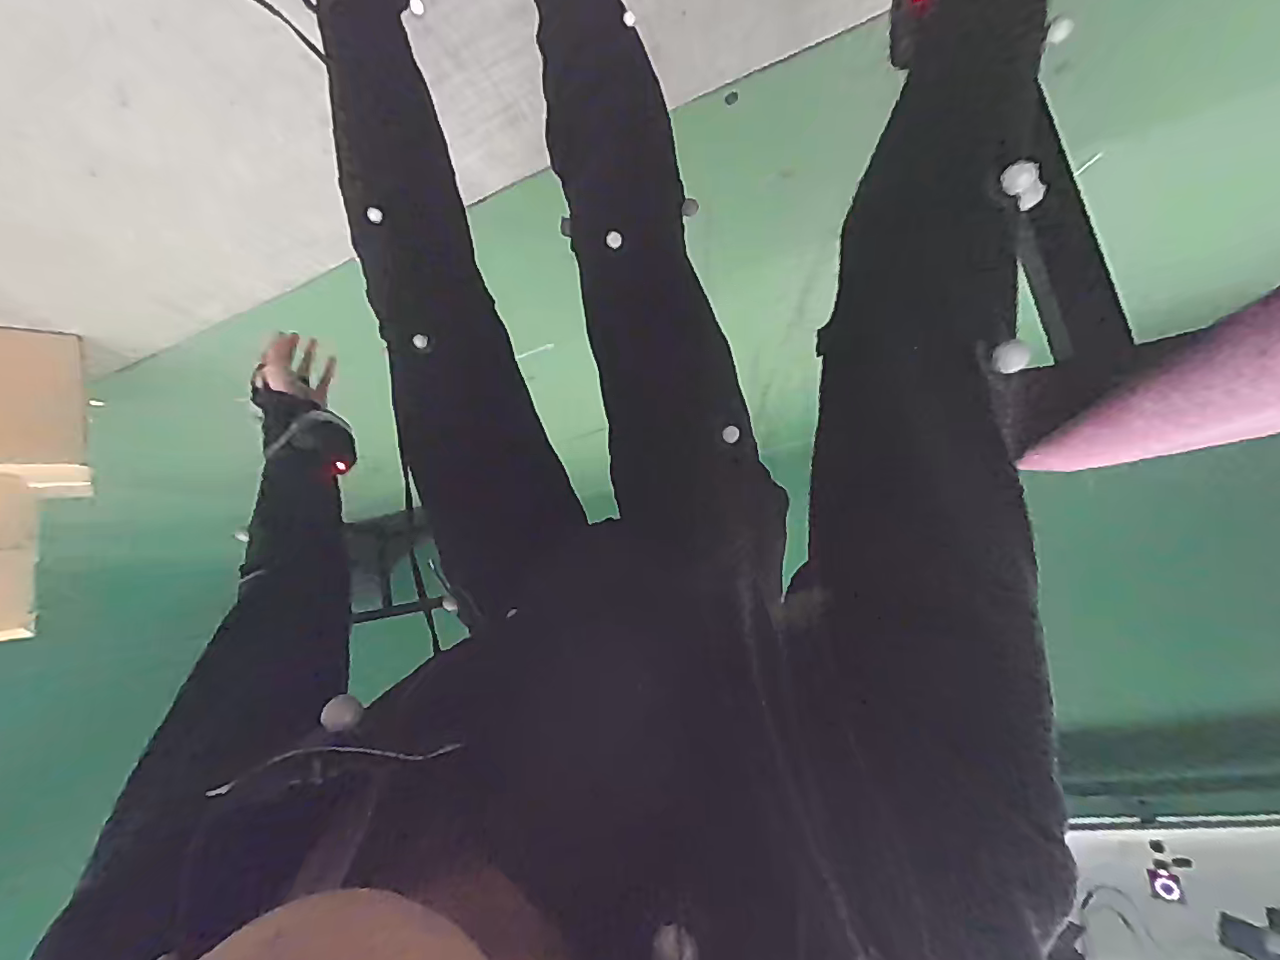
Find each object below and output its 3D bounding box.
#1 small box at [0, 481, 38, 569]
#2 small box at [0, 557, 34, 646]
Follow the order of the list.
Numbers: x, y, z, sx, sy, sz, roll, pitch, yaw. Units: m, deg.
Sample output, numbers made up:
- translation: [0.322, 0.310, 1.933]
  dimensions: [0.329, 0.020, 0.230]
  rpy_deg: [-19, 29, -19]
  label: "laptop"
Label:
- translation: [-1.412, 0.103, 1.142]
  dimensions: [0.168, 0.176, 0.179]
  rpy_deg: [-4, 167, -38]
  label: "small box"
- translation: [-1.372, 0.258, 1.104]
  dimensions: [0.168, 0.176, 0.179]
  rpy_deg: [-3, 166, -43]
  label: "small box"
